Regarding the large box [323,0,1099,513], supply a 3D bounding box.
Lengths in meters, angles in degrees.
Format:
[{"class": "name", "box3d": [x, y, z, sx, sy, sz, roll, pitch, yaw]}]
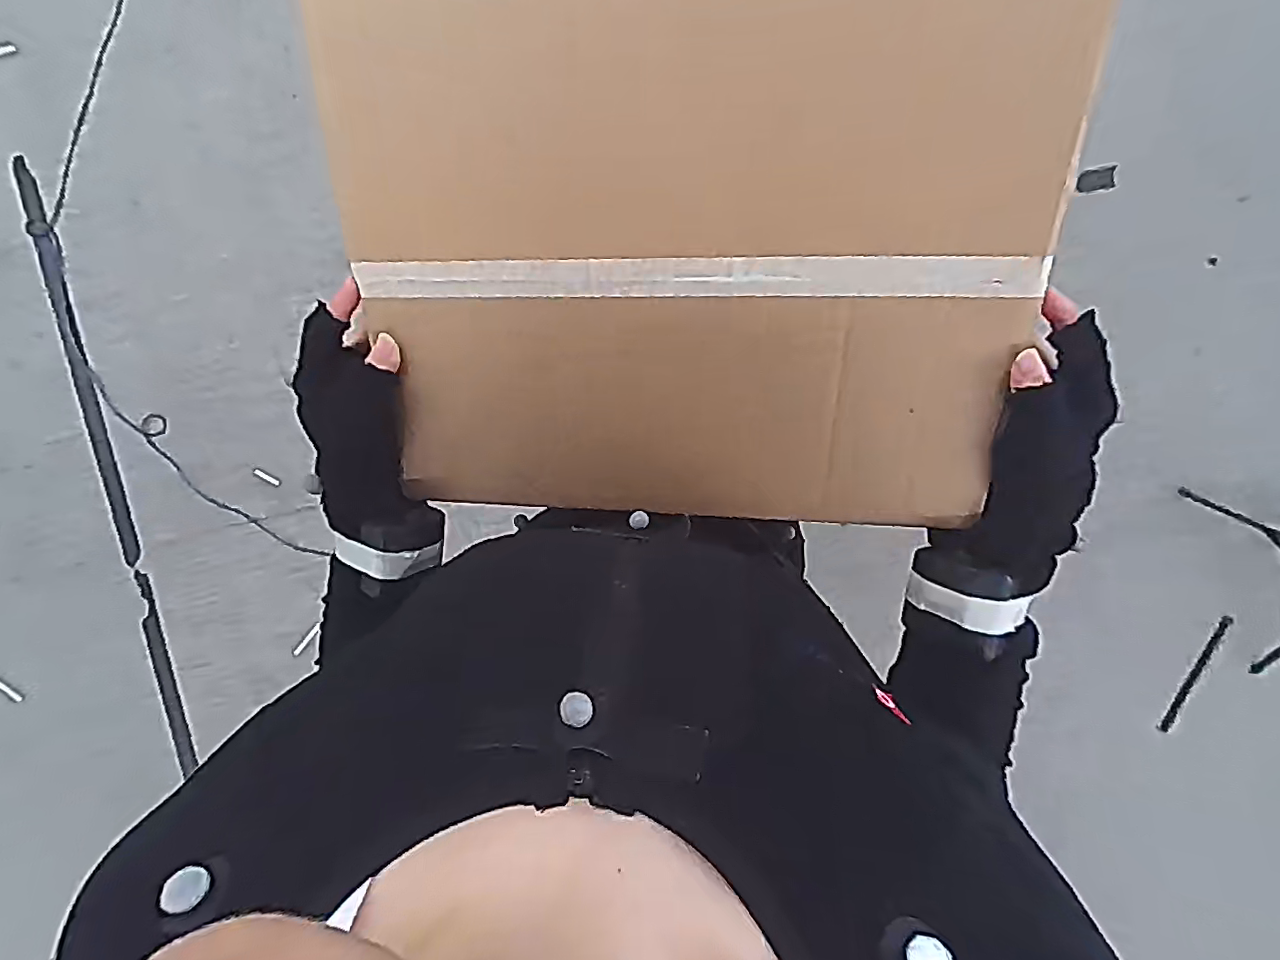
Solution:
[{"class": "large box", "box3d": [0.041, -0.182, 0.464, 0.408, 0.320, 0.320, 3, 115, 7]}]
